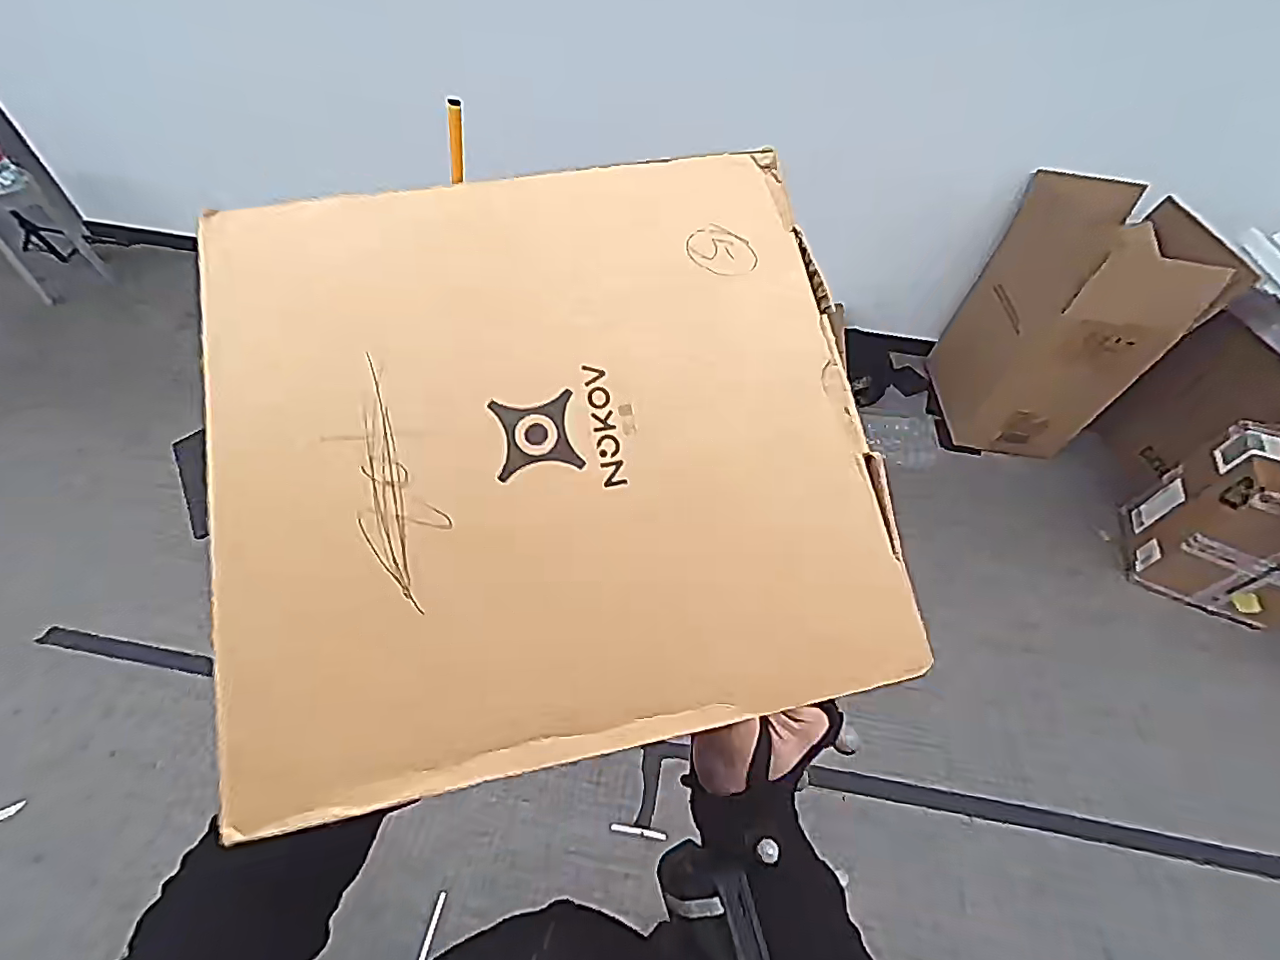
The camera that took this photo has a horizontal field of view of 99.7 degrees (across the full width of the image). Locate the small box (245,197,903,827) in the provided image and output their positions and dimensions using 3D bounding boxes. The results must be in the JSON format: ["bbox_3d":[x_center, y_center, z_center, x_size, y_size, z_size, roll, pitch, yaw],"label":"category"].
[{"bbox_3d":[-0.029,0.014,0.241,0.179,0.176,0.168,-12,77,-6],"label":"small box"}]
